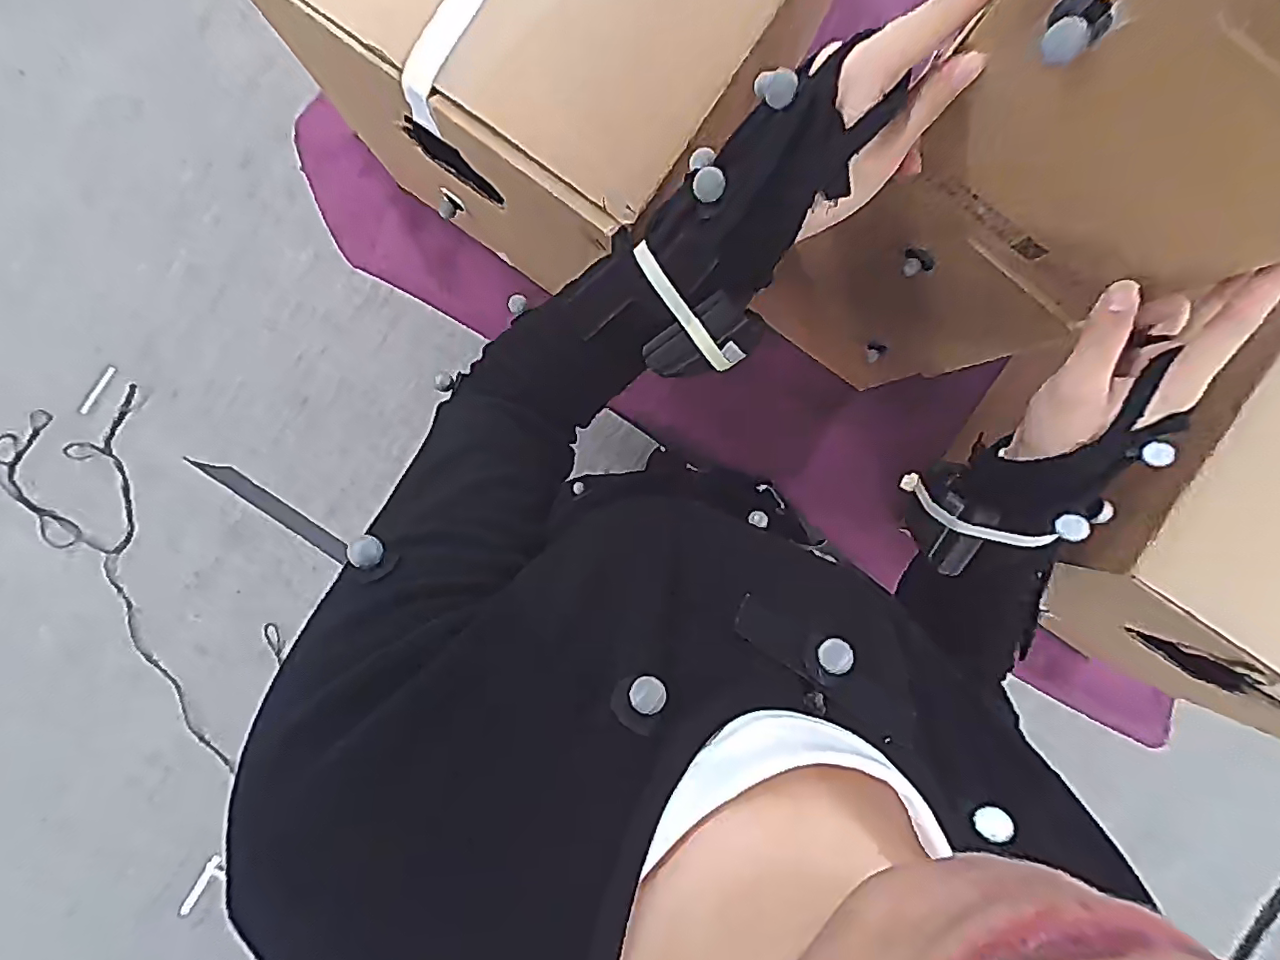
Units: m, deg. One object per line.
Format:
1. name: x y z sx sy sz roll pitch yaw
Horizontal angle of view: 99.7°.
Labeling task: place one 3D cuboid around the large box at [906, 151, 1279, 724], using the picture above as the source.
1. large box: 0.549 -0.027 0.510 0.320 0.320 0.408 33 89 -3
